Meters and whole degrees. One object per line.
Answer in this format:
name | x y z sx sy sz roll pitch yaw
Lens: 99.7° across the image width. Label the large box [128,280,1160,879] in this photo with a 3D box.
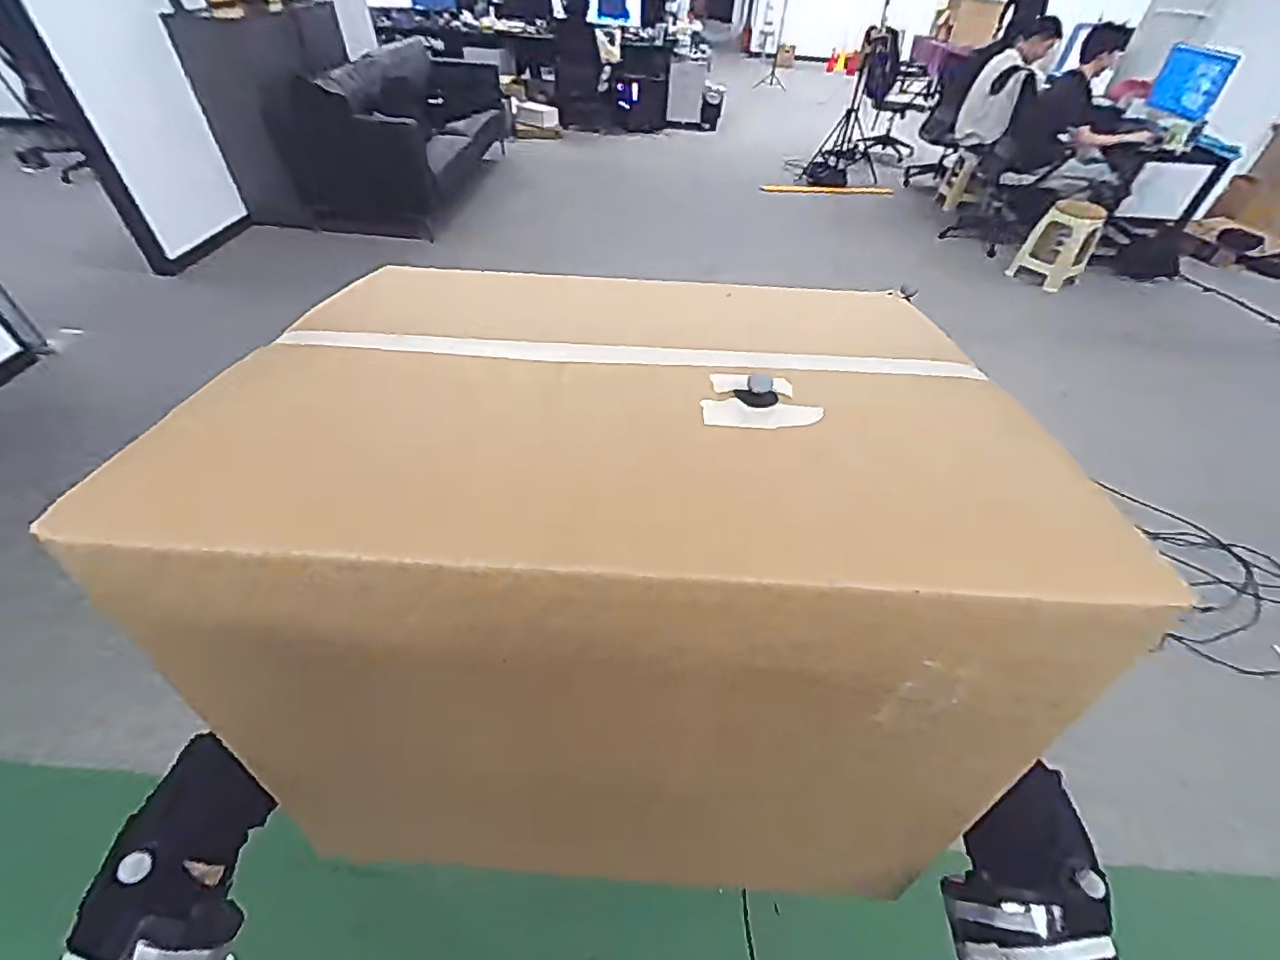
large box | -0.001 0.060 0.411 0.408 0.320 0.320 5 38 1
